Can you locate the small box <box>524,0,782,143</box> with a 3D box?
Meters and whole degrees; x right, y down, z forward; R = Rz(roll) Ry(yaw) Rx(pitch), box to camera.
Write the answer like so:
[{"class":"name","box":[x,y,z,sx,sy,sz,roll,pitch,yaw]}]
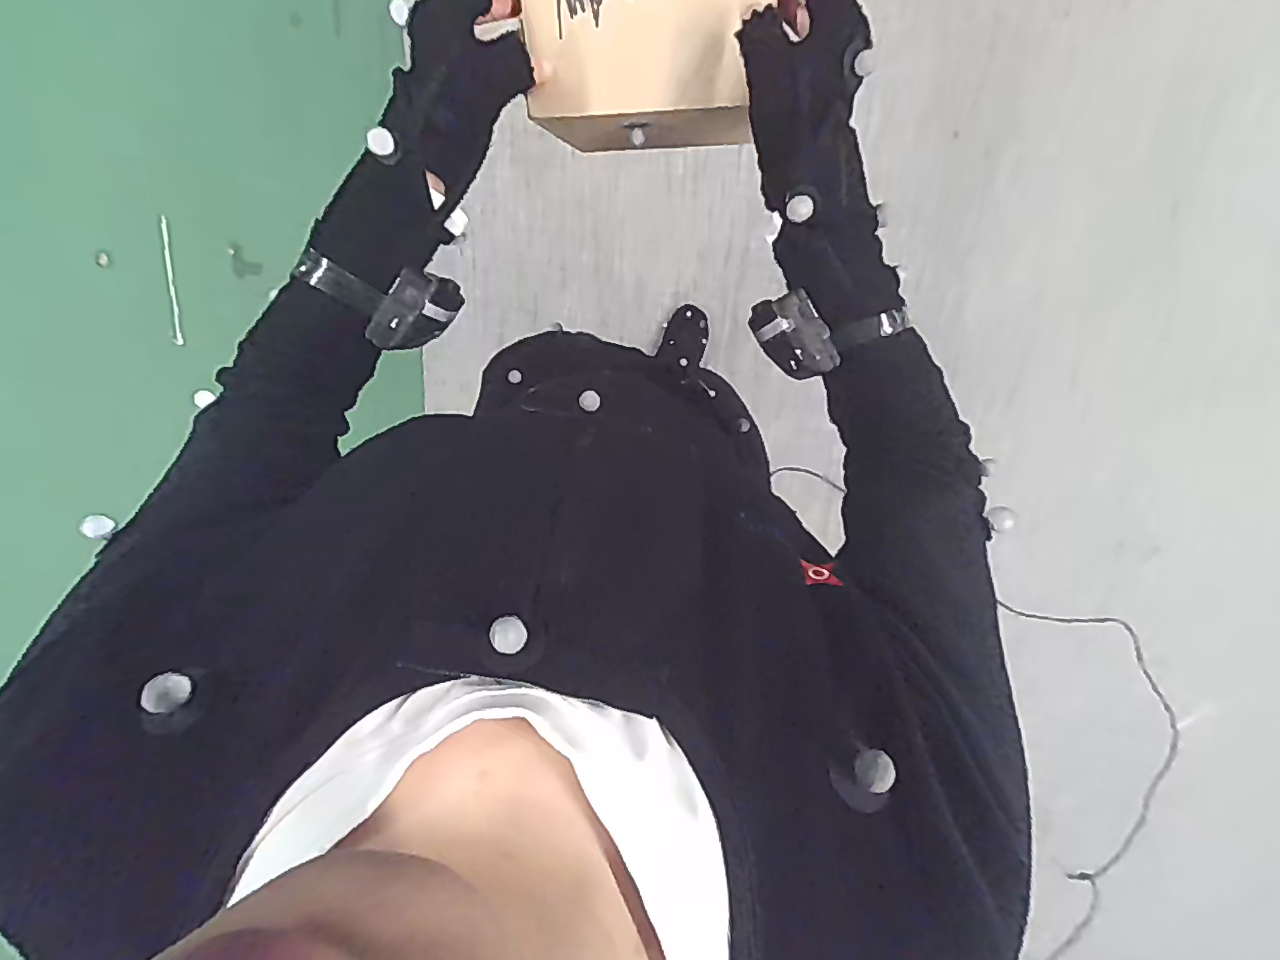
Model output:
[{"class":"small box","box":[0.017,-0.374,0.423,0.179,0.176,0.168,2,114,7]}]
